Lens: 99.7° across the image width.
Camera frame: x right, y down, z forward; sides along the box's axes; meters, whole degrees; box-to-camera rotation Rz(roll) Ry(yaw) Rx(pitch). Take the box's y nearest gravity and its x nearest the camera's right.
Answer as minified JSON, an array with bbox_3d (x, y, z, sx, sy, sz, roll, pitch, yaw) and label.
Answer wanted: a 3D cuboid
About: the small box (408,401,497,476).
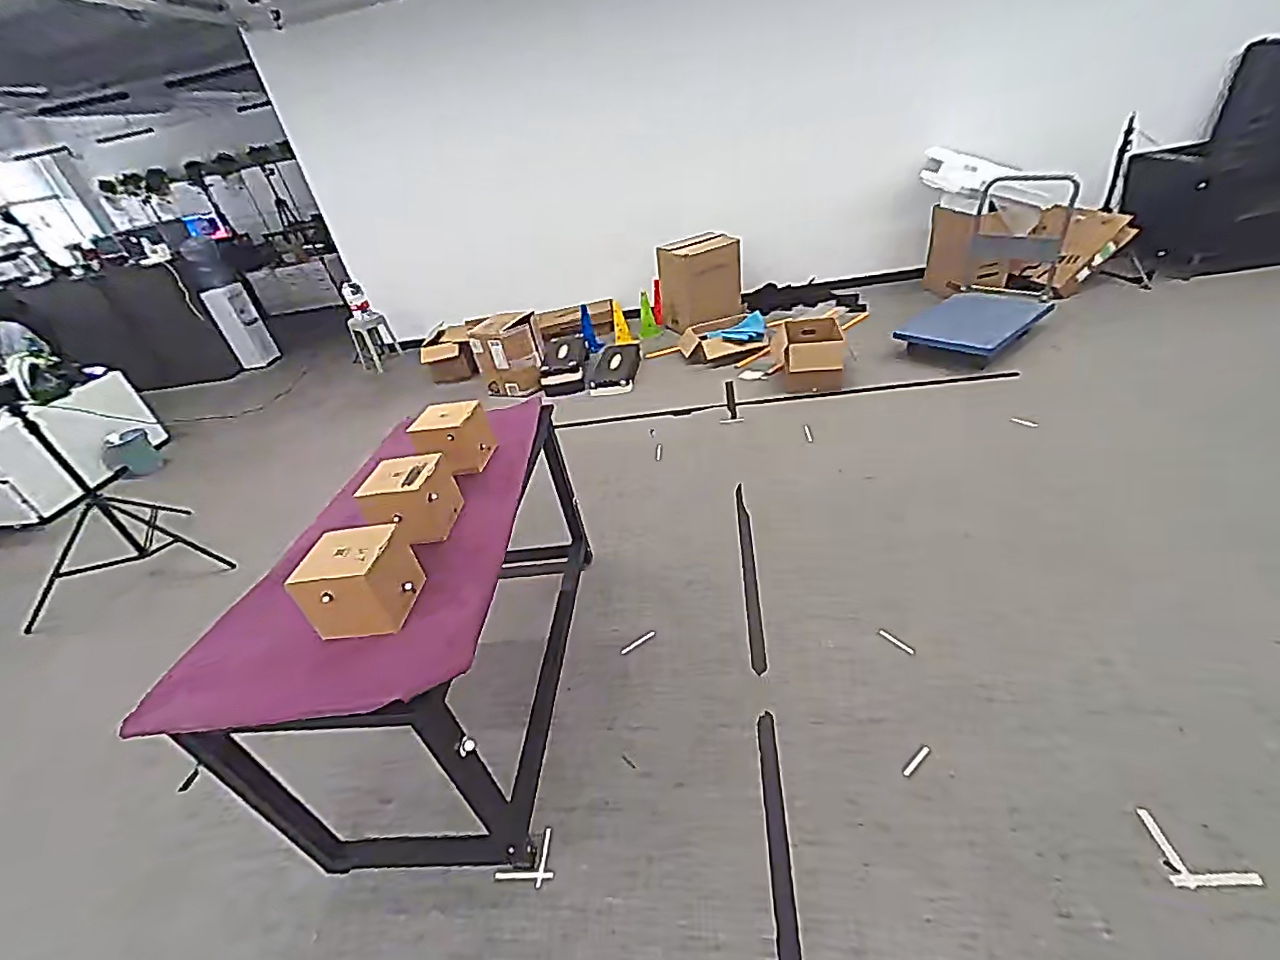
[{"bbox_3d":[-0.566,-0.123,1.655,0.179,0.176,0.168,-5,34,11],"label":"small box"}]

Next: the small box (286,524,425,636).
[{"bbox_3d":[-0.596,0.217,1.159,0.179,0.176,0.168,-7,33,6],"label":"small box"}]
